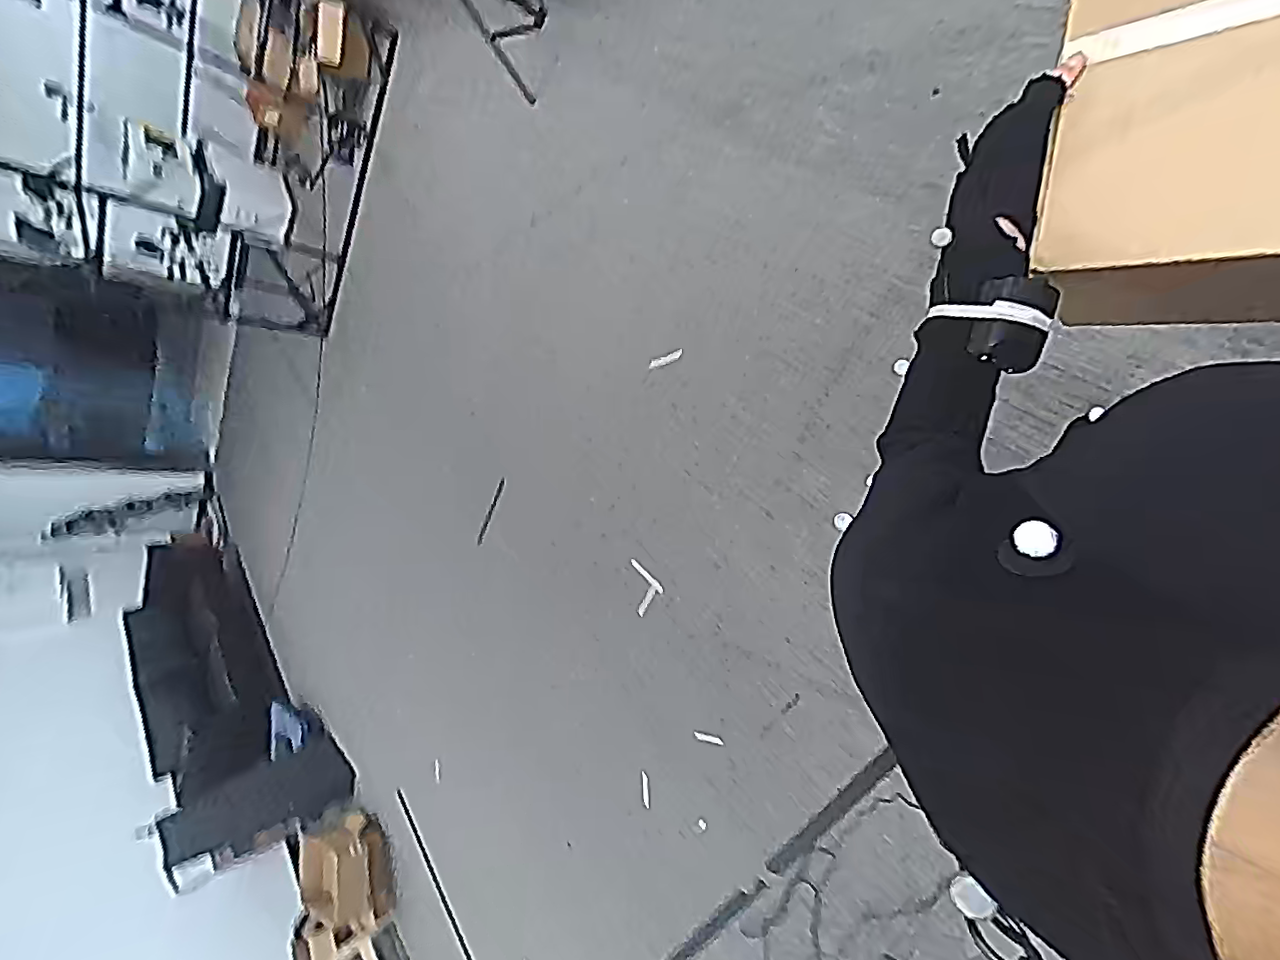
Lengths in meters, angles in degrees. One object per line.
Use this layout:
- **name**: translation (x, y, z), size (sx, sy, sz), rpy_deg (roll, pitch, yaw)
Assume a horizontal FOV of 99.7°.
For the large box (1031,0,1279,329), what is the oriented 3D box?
- **large box**: translation (0.576, -0.304, 0.414), size (0.408, 0.320, 0.320), rpy_deg (10, 101, 40)
